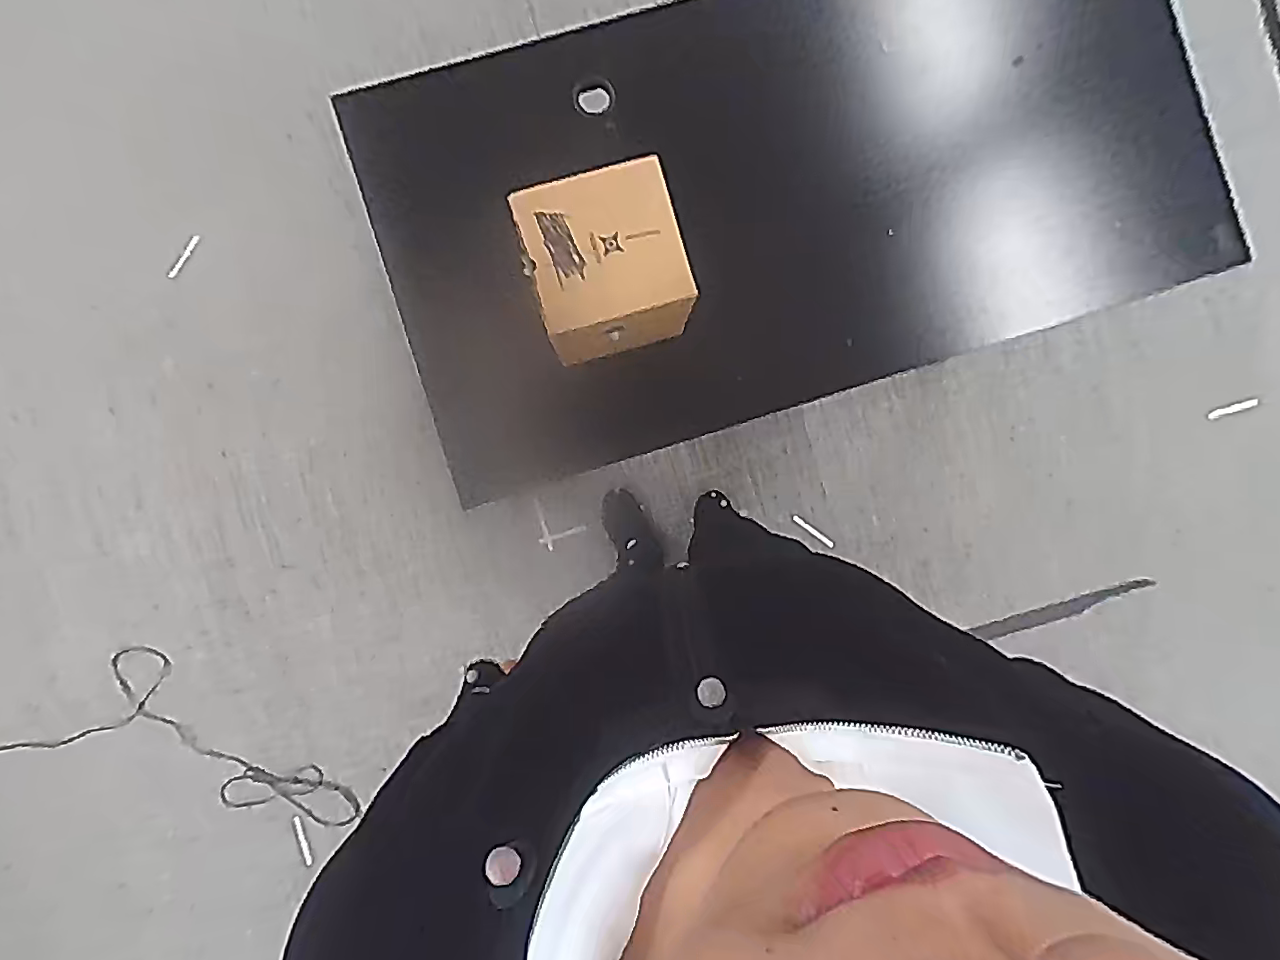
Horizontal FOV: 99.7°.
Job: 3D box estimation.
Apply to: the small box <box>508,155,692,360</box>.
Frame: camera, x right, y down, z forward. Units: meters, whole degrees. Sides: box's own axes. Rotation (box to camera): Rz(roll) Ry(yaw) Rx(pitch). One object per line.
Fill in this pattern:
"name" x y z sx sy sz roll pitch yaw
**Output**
"small box" -0.047 -0.266 0.686 0.179 0.176 0.168 -17 91 -3
